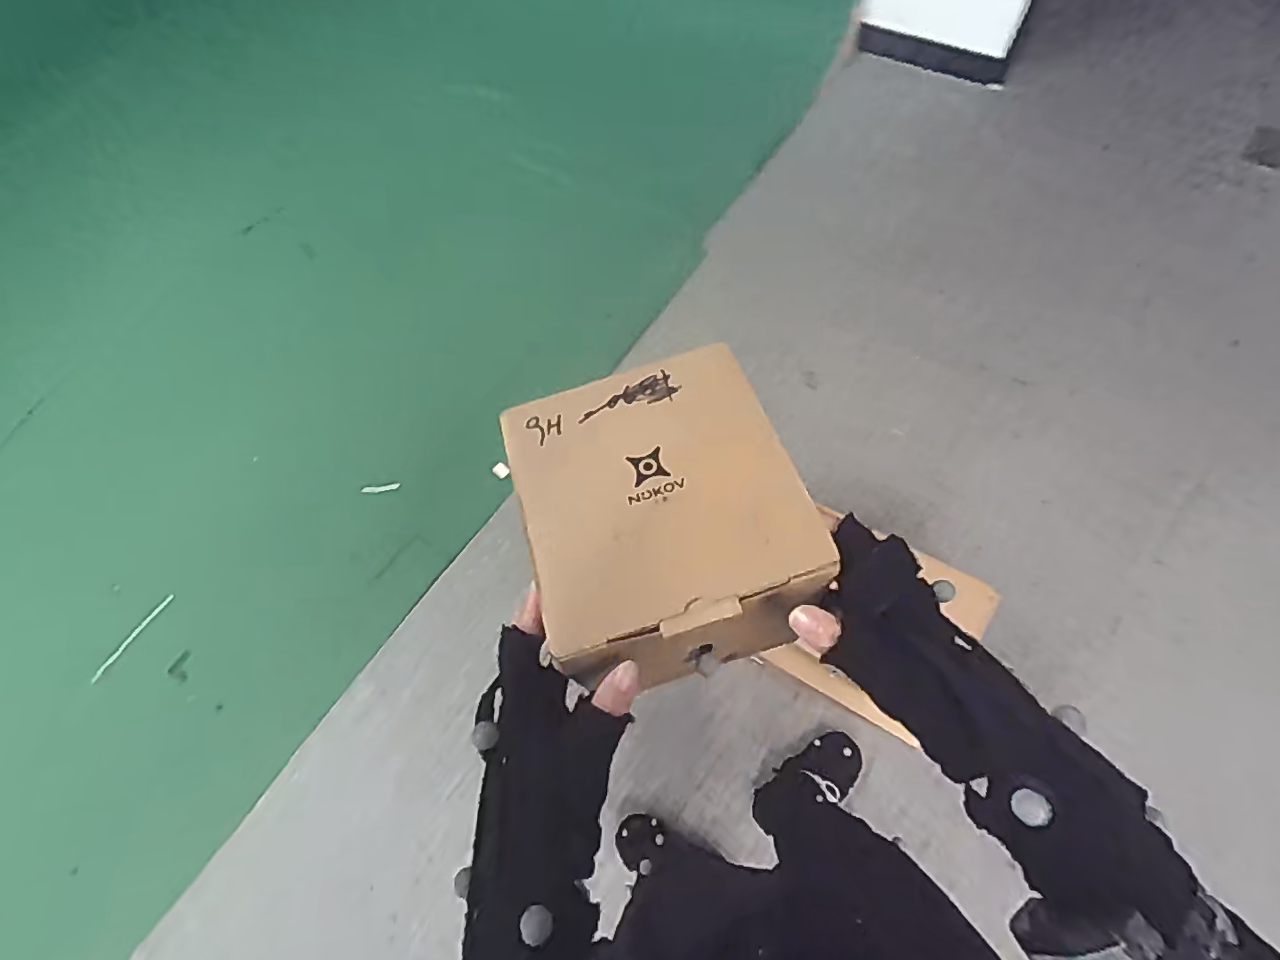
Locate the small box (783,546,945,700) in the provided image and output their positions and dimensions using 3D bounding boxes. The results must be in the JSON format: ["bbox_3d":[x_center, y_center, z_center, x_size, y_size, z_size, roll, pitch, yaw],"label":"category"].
[{"bbox_3d":[0.350,0.234,0.884,0.179,0.176,0.168,30,81,17],"label":"small box"}]

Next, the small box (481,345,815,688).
[{"bbox_3d":[0.005,0.041,0.394,0.168,0.176,0.179,-19,62,-2],"label":"small box"}]
